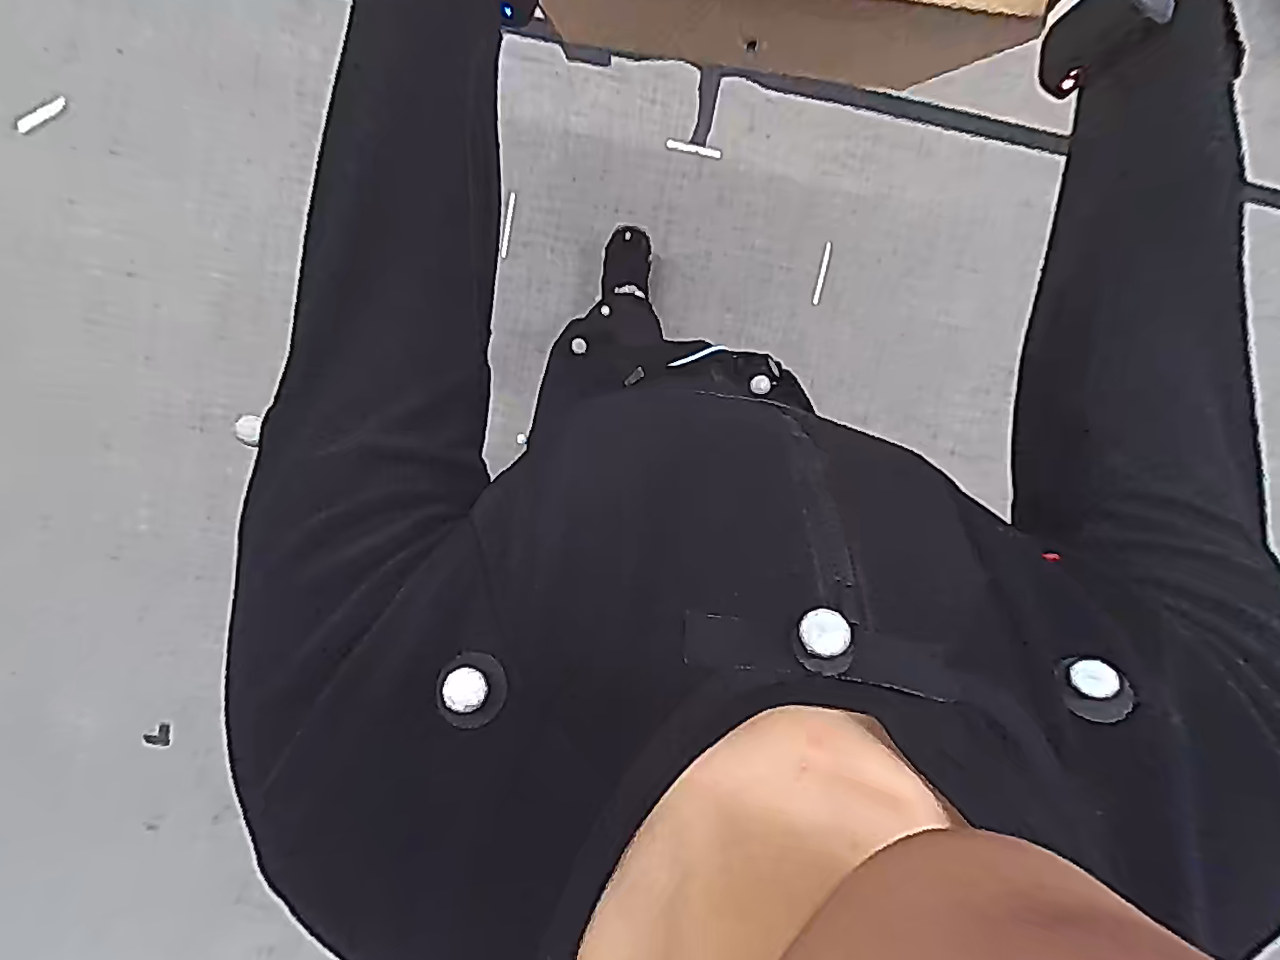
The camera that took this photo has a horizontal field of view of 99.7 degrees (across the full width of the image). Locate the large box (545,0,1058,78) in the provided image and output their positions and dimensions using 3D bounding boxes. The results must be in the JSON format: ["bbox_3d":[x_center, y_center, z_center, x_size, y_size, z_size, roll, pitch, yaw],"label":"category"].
[{"bbox_3d":[0.123,-0.557,0.438,0.408,0.320,0.320,7,118,-1],"label":"large box"}]
